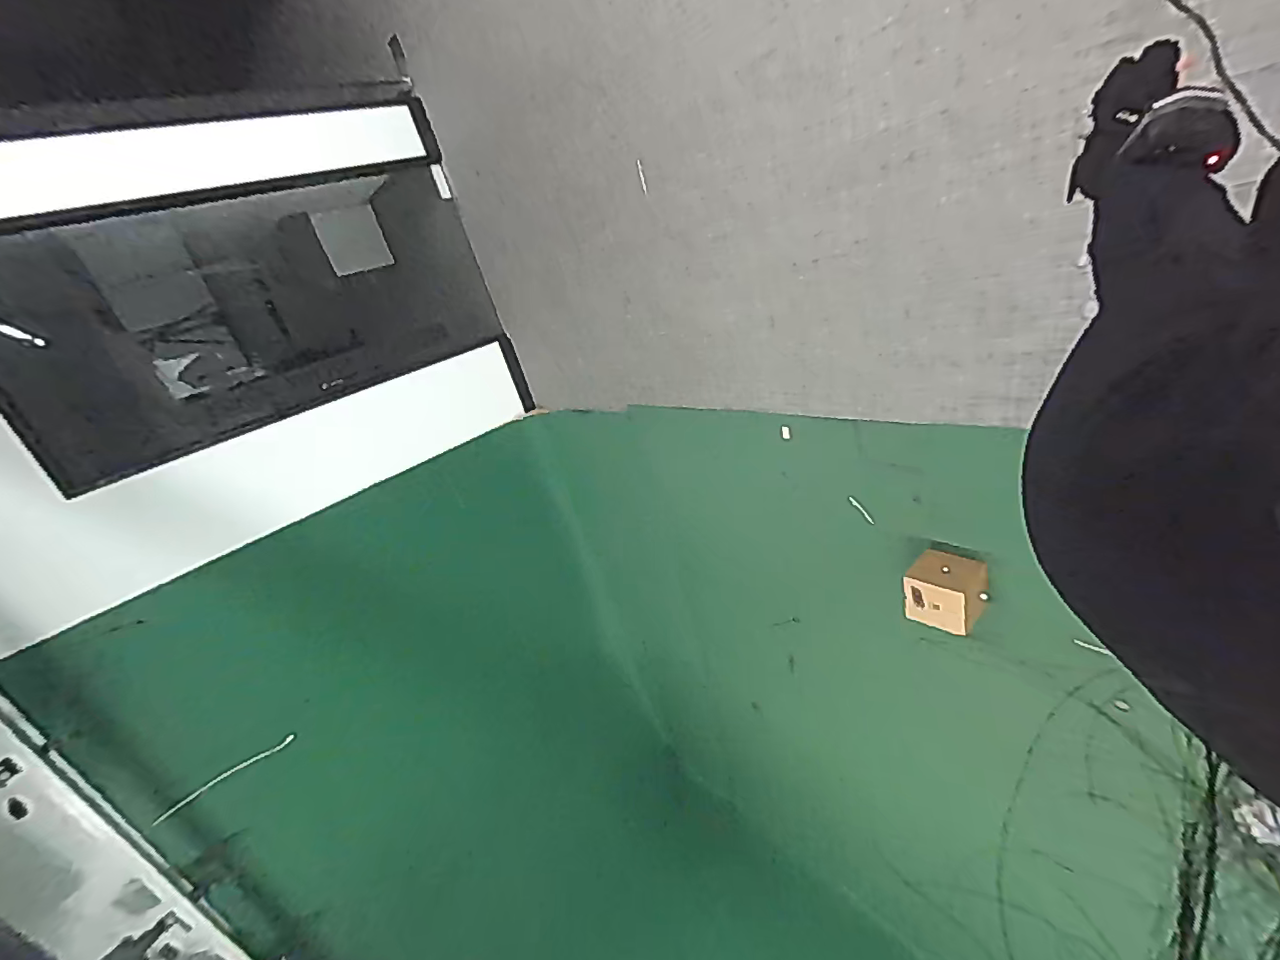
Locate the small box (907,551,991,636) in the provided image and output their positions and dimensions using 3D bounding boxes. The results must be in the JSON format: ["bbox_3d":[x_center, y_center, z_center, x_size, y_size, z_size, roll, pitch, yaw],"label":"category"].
[{"bbox_3d":[0.952,0.340,1.670,0.179,0.176,0.168,14,128,48],"label":"small box"}]
